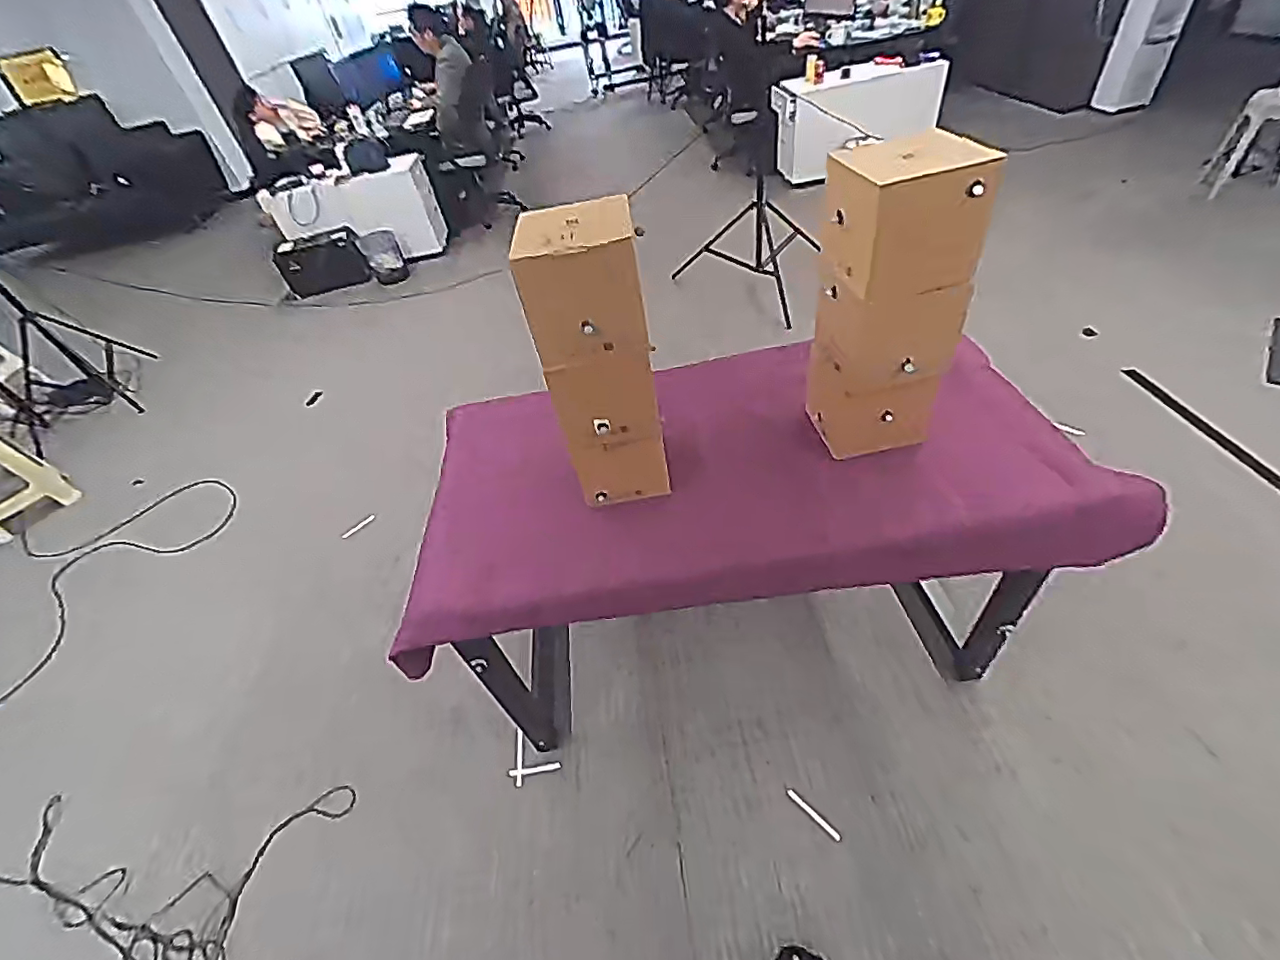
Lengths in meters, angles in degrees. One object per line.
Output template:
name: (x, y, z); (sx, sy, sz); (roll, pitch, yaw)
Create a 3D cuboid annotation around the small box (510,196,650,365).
small box: (-0.080, -0.297, 0.809); (0.168, 0.176, 0.179); (-9, 45, 4)

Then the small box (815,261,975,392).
small box: (0.414, -0.274, 0.916); (0.179, 0.176, 0.168); (-13, 44, -2)

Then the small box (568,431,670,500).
small box: (-0.040, -0.077, 1.048); (0.168, 0.176, 0.179); (-10, 44, 1)

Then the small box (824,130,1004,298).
small box: (0.388, -0.393, 0.807); (0.179, 0.176, 0.168); (-14, 45, -1)

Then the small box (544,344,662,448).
small box: (-0.060, -0.181, 0.925); (0.168, 0.176, 0.179); (-10, 46, 2)
